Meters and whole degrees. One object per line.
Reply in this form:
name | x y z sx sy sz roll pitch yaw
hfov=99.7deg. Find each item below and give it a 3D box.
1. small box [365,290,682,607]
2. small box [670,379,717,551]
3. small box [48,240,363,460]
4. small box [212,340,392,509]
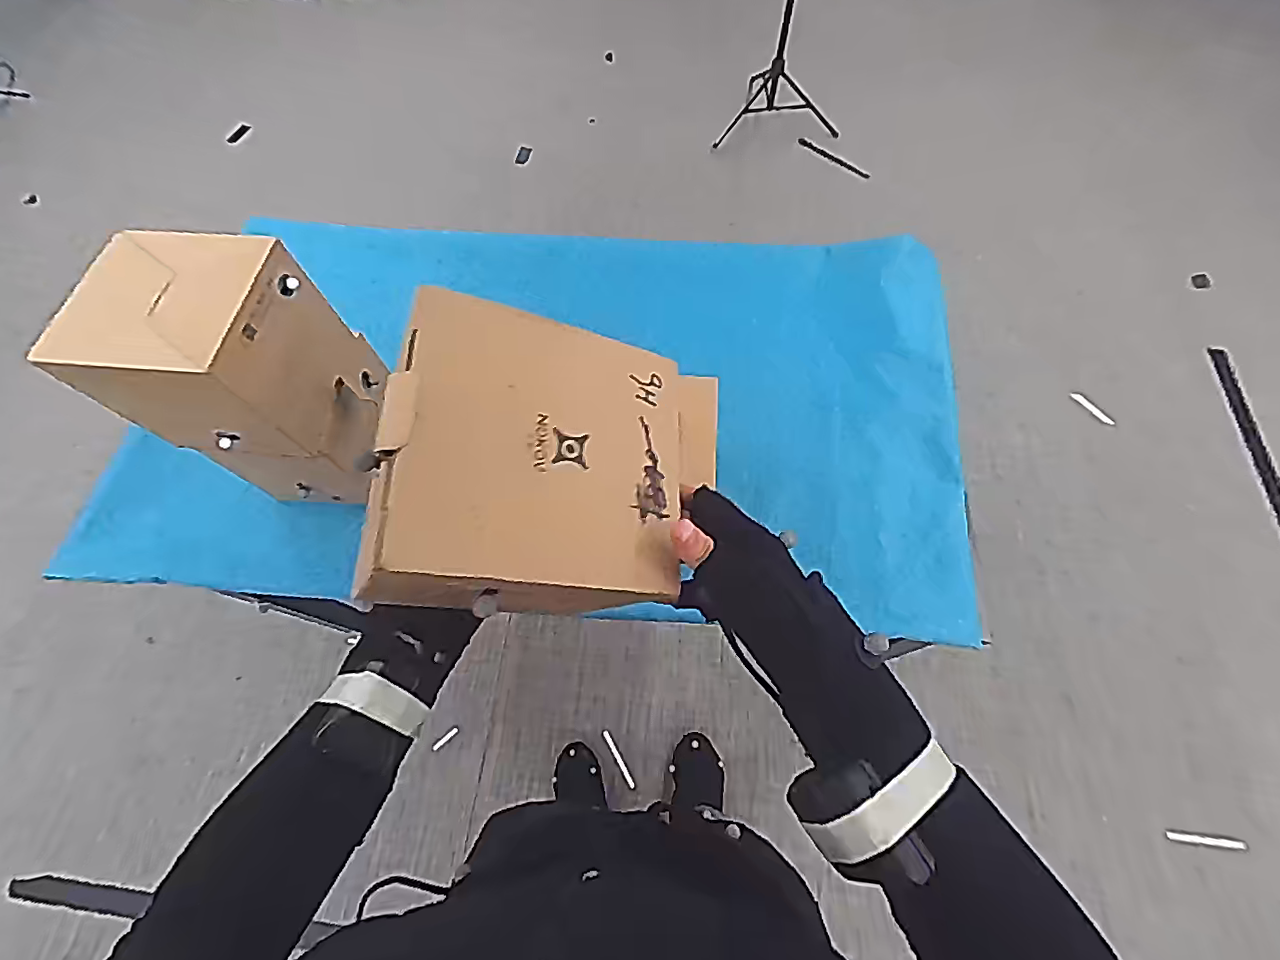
small box | -0.091 0.001 0.388 0.179 0.176 0.168 8 70 -29
small box | 0.003 -0.015 0.687 0.179 0.176 0.168 4 66 5
small box | -0.446 -0.135 0.584 0.179 0.176 0.168 5 65 5
small box | -0.440 -0.077 0.740 0.168 0.176 0.179 5 68 7
